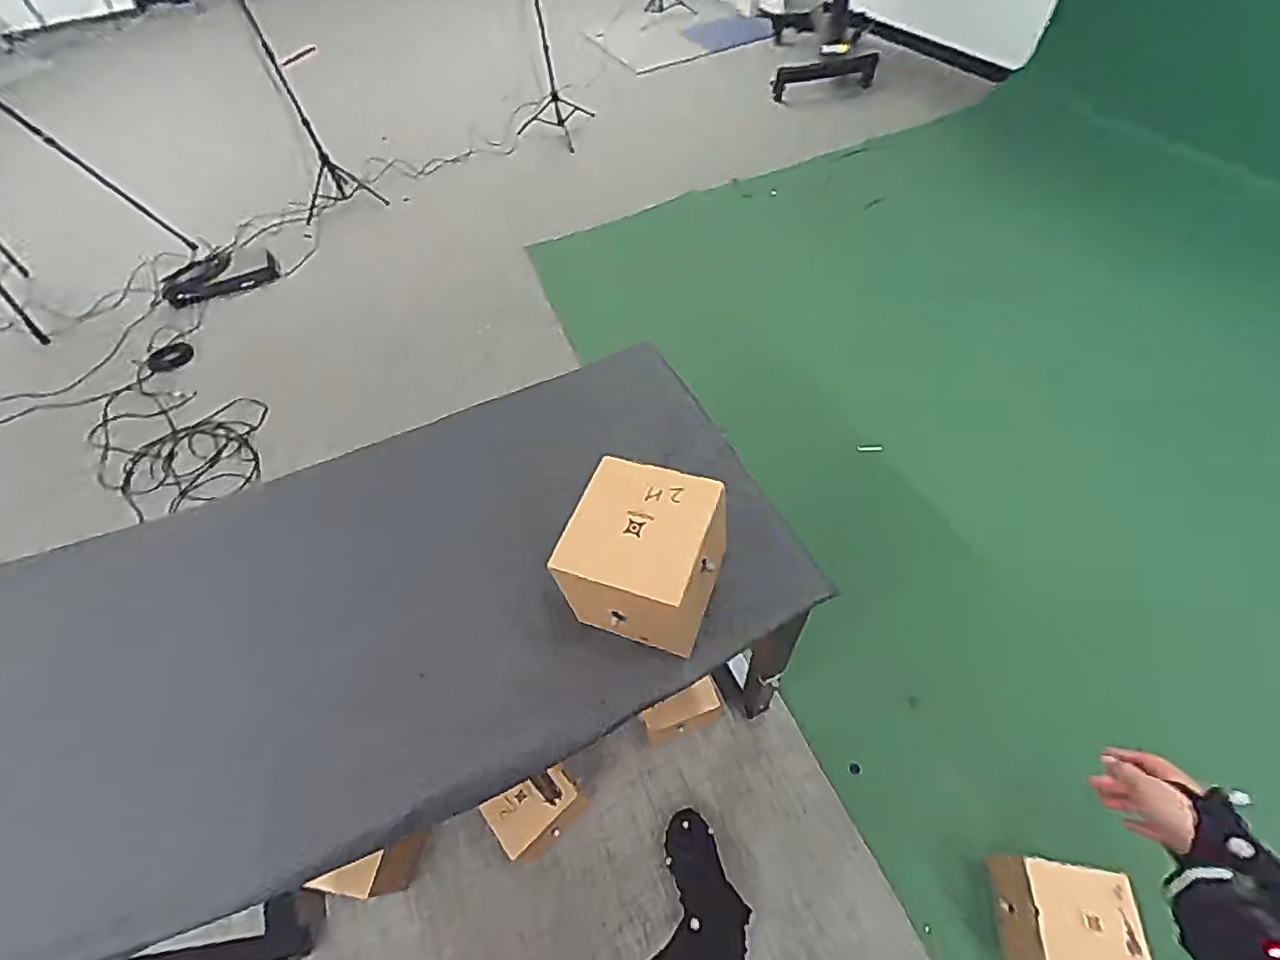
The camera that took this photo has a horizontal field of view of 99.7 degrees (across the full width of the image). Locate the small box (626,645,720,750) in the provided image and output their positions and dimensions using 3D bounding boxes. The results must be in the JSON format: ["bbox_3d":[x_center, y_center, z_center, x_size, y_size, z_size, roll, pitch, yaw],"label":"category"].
[{"bbox_3d":[0.080,0.525,1.295,0.179,0.176,0.168,-18,55,-8],"label":"small box"}]

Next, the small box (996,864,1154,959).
[{"bbox_3d":[0.792,0.832,1.001,0.179,0.176,0.168,5,55,10],"label":"small box"}]

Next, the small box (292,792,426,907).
[{"bbox_3d":[-0.593,0.799,1.172,0.168,0.176,0.179,4,54,9],"label":"small box"}]

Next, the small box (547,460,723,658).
[{"bbox_3d":[0.008,0.105,0.699,0.168,0.176,0.179,14,56,19],"label":"small box"}]
